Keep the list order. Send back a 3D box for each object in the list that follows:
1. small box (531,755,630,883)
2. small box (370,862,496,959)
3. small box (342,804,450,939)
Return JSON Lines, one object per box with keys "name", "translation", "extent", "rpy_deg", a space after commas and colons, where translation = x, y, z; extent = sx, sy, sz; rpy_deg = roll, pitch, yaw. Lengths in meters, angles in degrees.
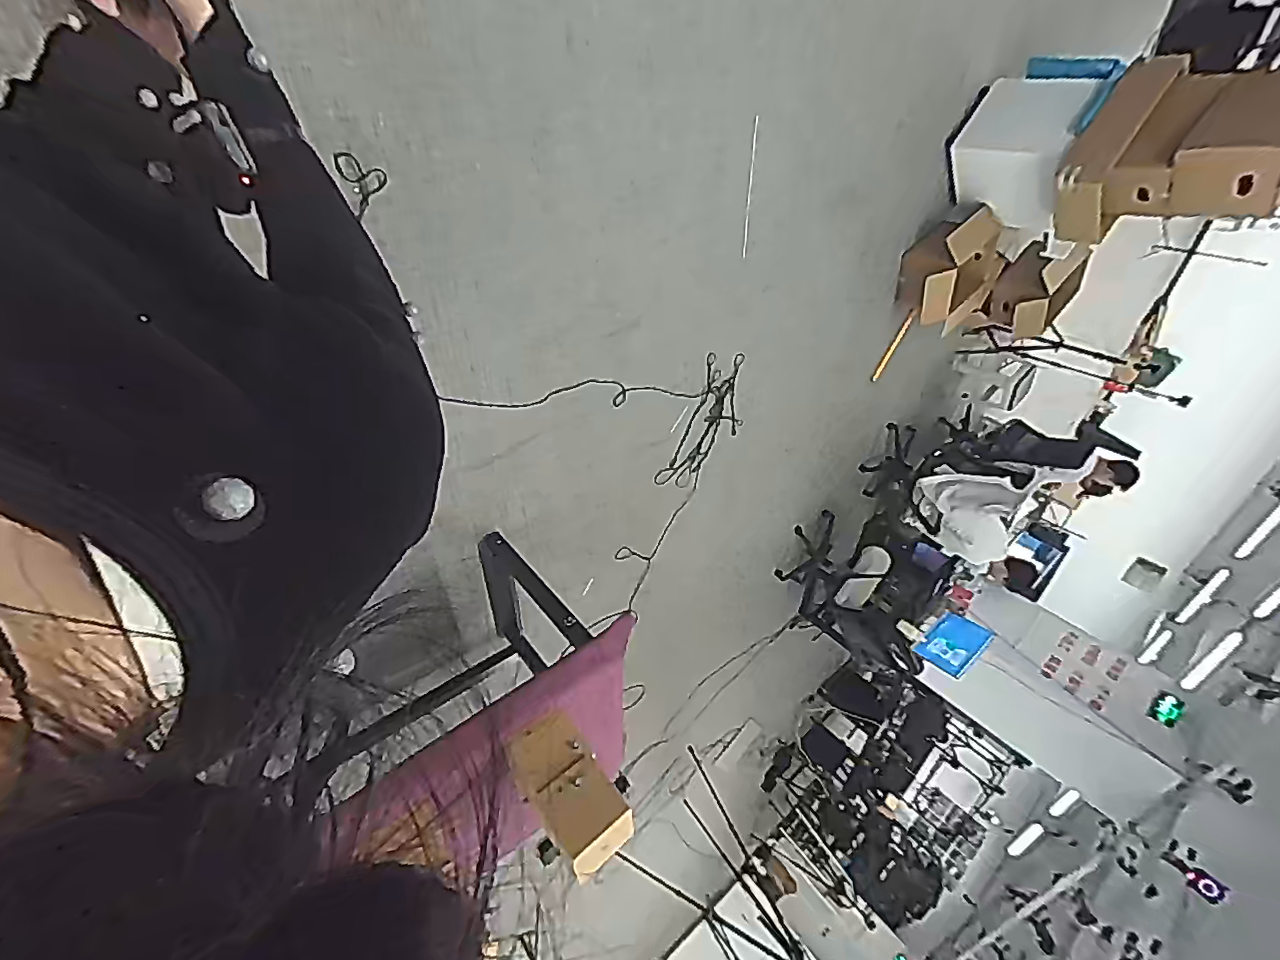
{"name": "small box", "translation": [-0.140, 0.800, 1.290], "extent": [0.168, 0.176, 0.179], "rpy_deg": [-29, 137, -30]}
{"name": "small box", "translation": [-0.418, 0.935, 1.101], "extent": [0.179, 0.176, 0.168], "rpy_deg": [-25, 134, -34]}
{"name": "small box", "translation": [-0.531, 0.872, 1.203], "extent": [0.179, 0.176, 0.168], "rpy_deg": [-23, 133, -33]}
